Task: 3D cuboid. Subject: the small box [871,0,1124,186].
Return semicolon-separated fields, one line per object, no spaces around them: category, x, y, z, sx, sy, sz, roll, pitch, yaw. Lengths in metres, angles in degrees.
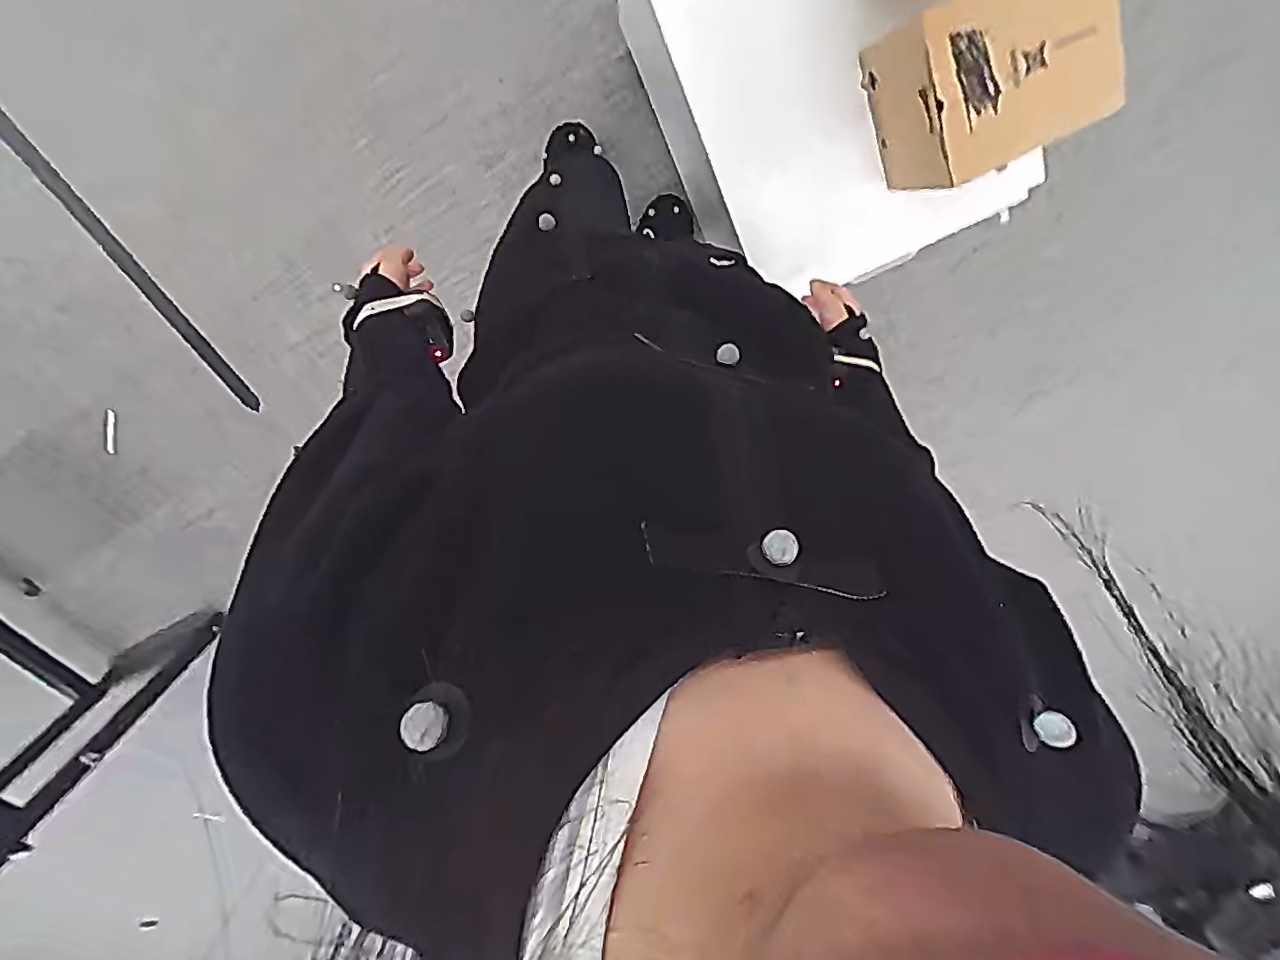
small box;0.379;-0.448;0.602;0.179;0.176;0.168;-22;116;11
